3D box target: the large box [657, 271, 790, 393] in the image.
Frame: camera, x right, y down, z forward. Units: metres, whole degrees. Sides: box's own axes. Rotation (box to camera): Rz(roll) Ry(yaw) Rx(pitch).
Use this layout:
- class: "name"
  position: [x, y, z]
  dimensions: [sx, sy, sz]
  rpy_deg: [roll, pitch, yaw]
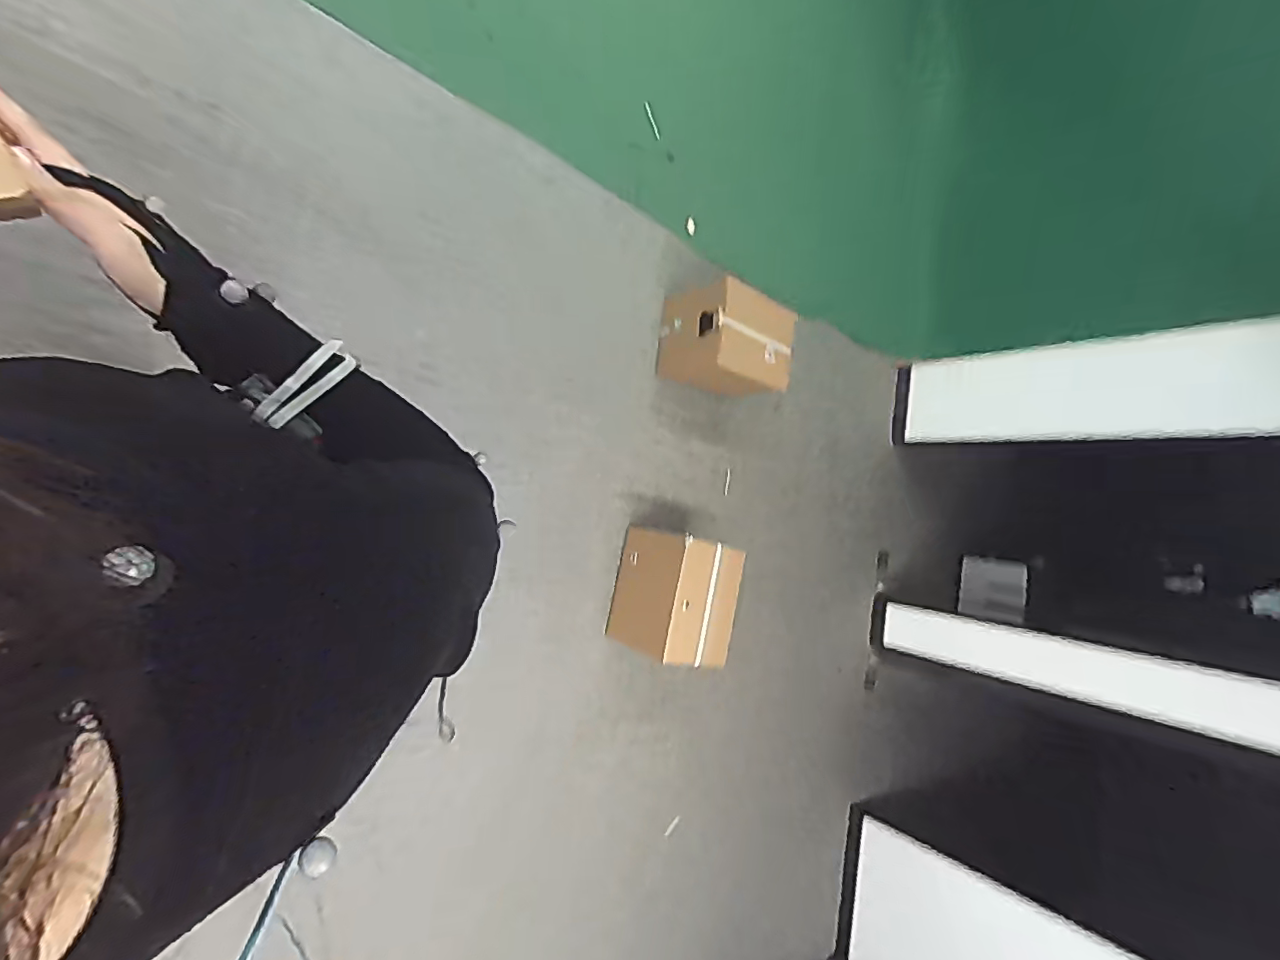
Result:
- class: "large box"
  position: [0.316, -0.536, 2.048]
  dimensions: [0.408, 0.320, 0.320]
  rpy_deg: [10, 86, -41]

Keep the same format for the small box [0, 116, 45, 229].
- class: "small box"
  position: [-0.415, -0.190, 0.227]
  dimensions: [0.179, 0.176, 0.168]
  rpy_deg: [-30, 124, -36]
